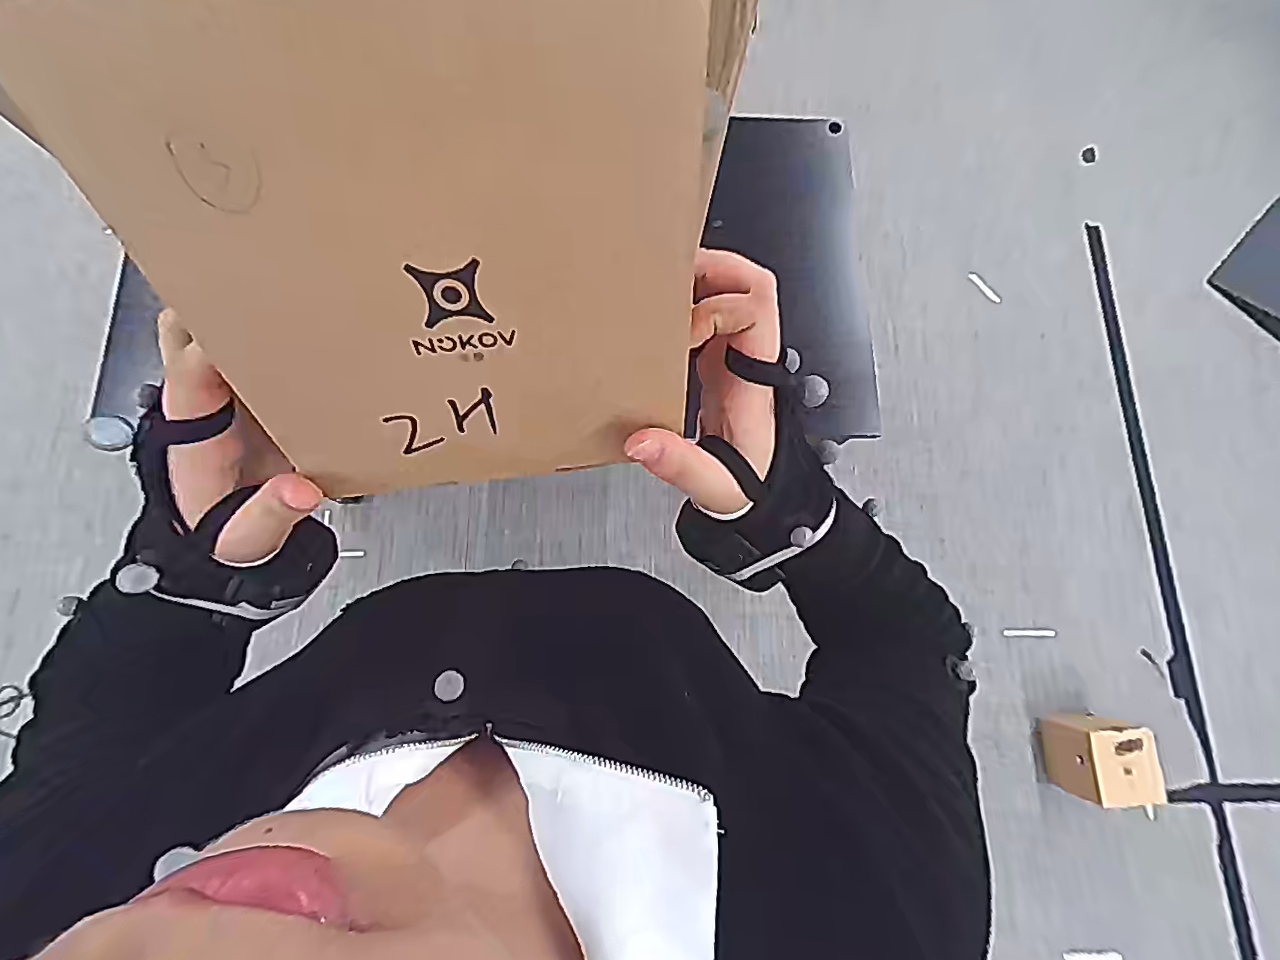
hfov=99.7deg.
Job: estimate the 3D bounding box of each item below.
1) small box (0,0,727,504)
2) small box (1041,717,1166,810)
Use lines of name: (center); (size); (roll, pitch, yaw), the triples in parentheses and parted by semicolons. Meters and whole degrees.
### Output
small box: (-0.070, -0.116, 0.228); (0.168, 0.179, 0.176); (-6, 49, -4)
small box: (1.182, 0.720, 1.395); (0.168, 0.176, 0.179); (-2, 79, -3)
